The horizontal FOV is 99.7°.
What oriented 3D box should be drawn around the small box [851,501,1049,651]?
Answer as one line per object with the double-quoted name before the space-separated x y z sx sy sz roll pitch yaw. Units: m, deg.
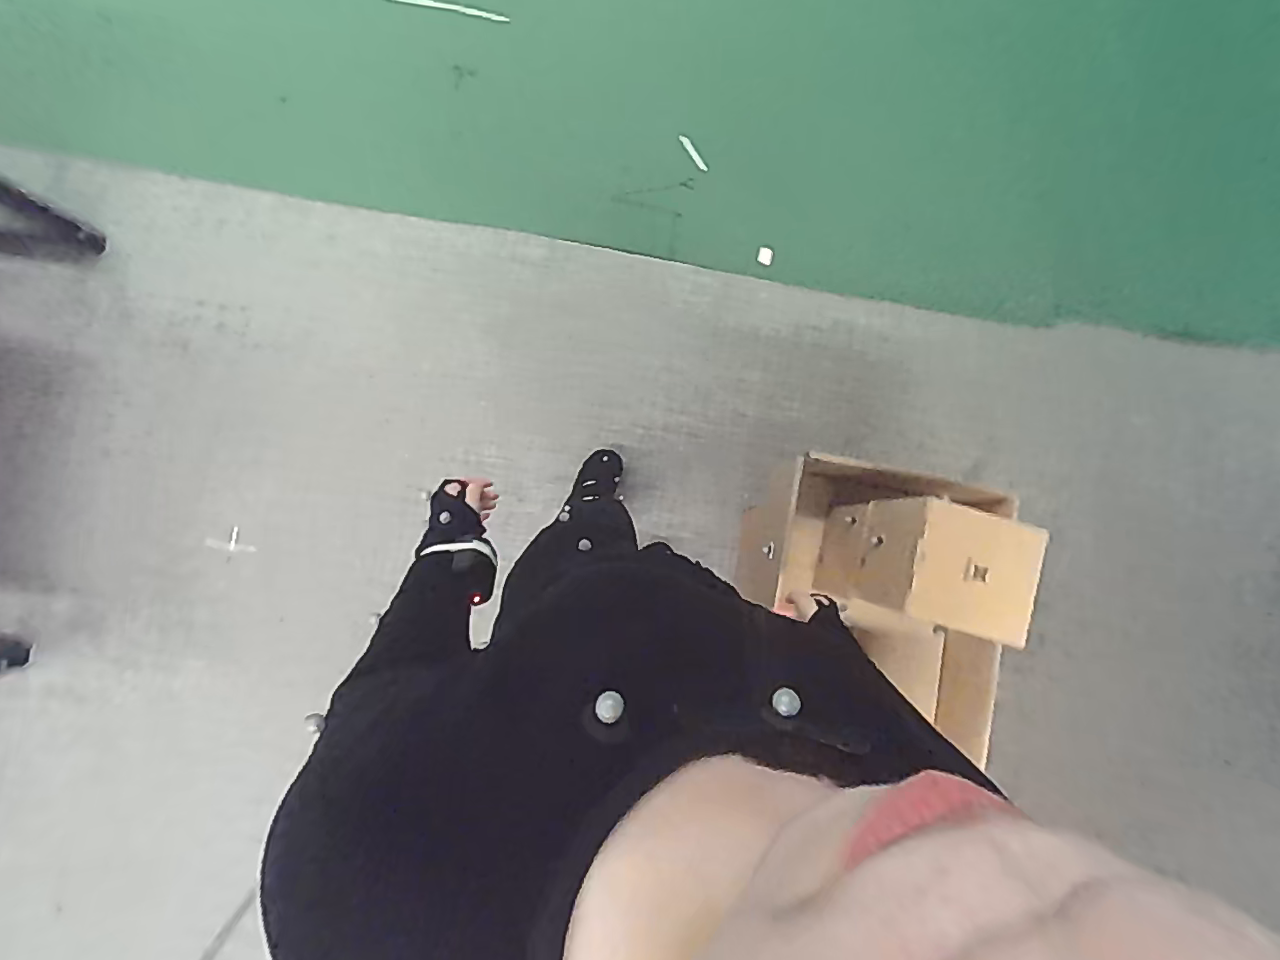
"small box" 0.449 0.134 0.808 0.179 0.176 0.168 17 85 -1
